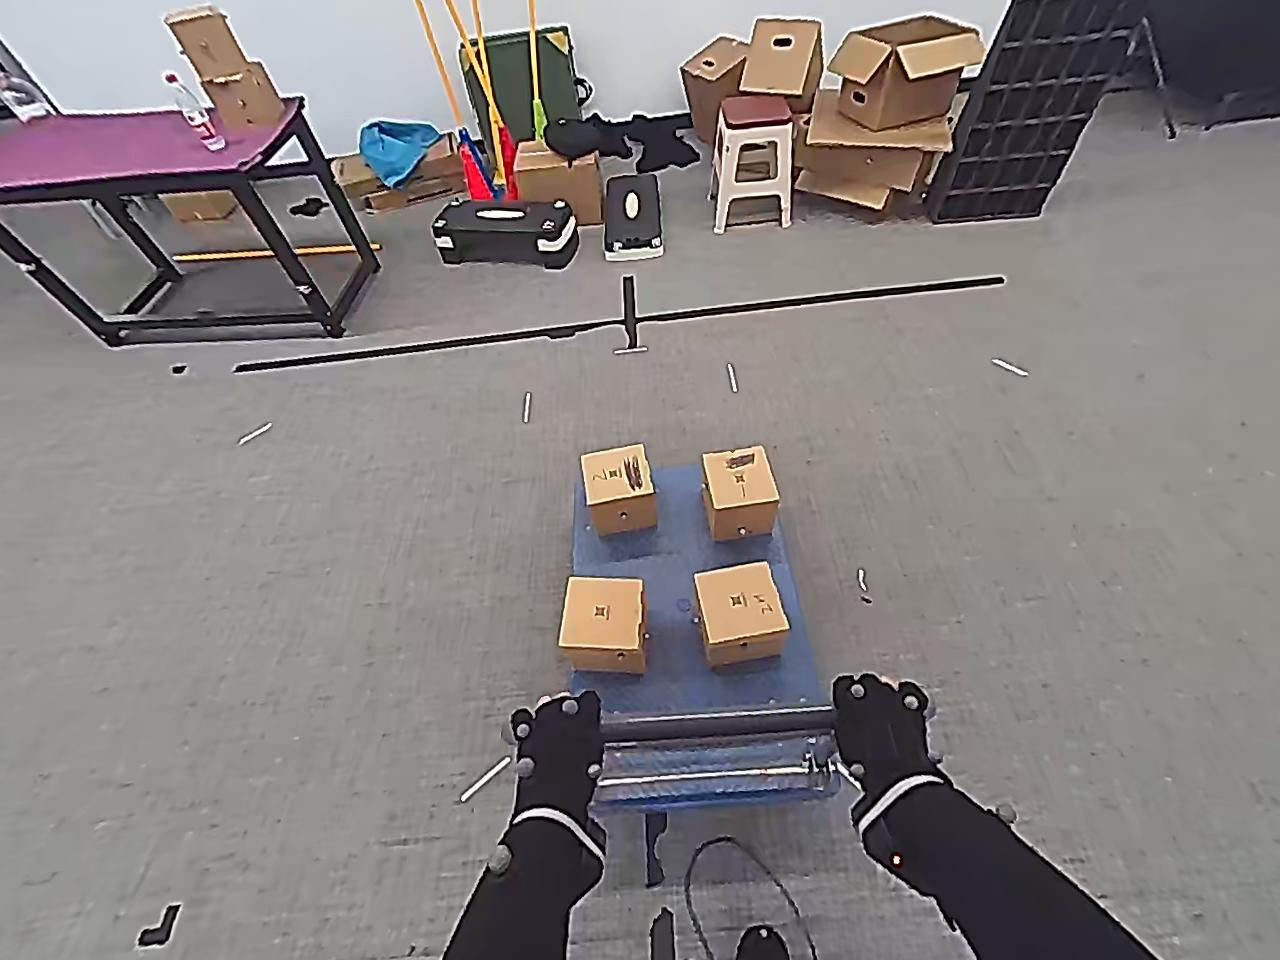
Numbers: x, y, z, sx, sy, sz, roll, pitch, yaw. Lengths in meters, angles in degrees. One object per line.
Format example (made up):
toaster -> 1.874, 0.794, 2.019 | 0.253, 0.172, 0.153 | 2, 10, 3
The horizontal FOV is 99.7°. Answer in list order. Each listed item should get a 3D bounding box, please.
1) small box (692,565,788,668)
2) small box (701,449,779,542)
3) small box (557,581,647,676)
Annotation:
small box -> 0.223, 0.318, 1.242 | 0.179, 0.176, 0.168 | -10, 54, -1
small box -> 0.257, 0.043, 1.435 | 0.168, 0.176, 0.179 | -9, 55, 0
small box -> -0.080, 0.347, 1.254 | 0.179, 0.176, 0.168 | 1, 54, 5
